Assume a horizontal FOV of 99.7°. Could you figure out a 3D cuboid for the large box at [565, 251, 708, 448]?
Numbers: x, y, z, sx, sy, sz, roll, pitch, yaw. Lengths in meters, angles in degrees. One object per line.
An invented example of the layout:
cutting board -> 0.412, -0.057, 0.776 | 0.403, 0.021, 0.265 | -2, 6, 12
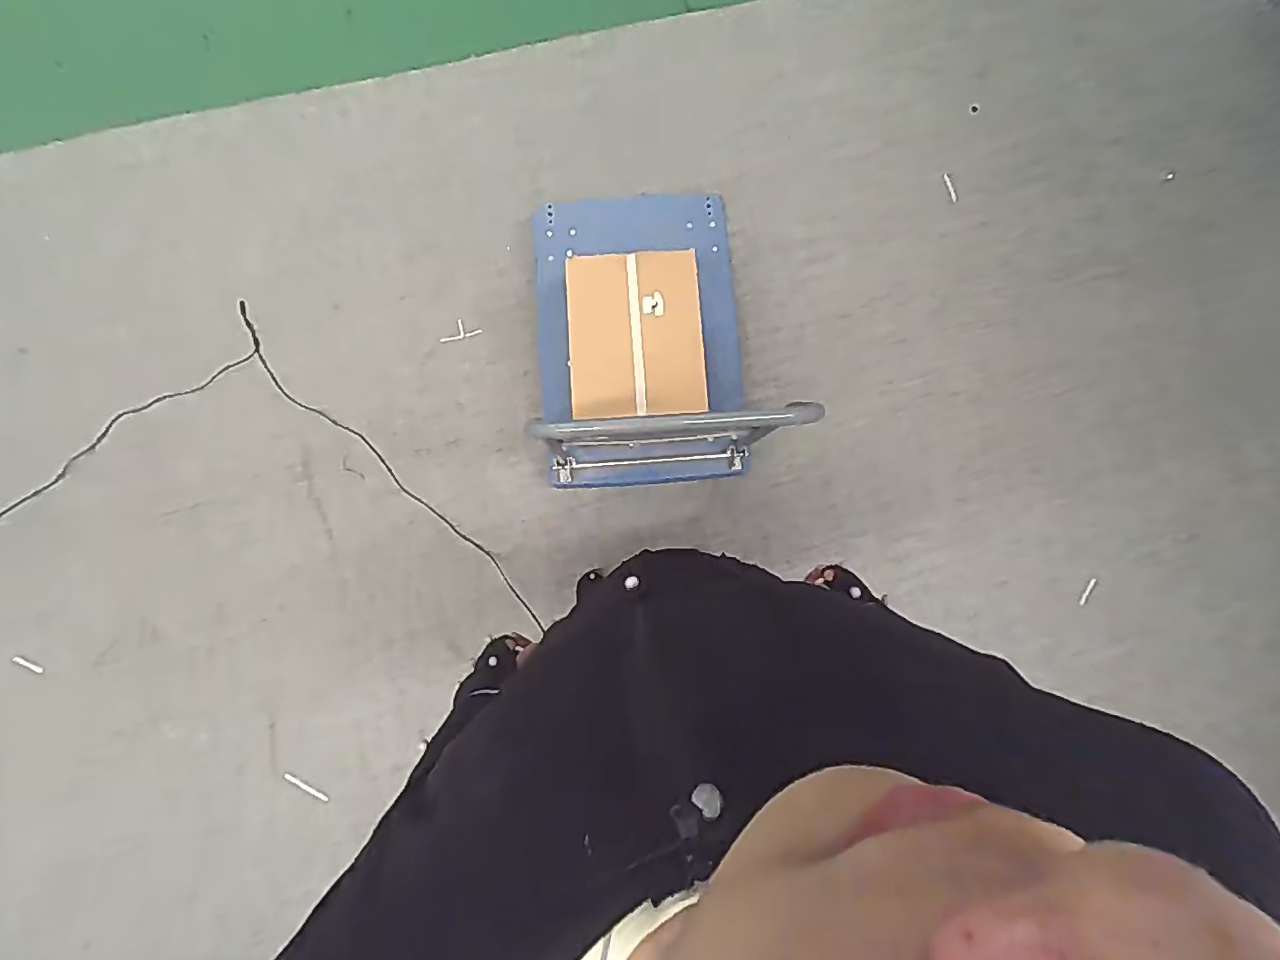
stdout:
large box -> -0.015, -0.321, 1.411 | 0.320, 0.320, 0.408 | -4, 80, -2
